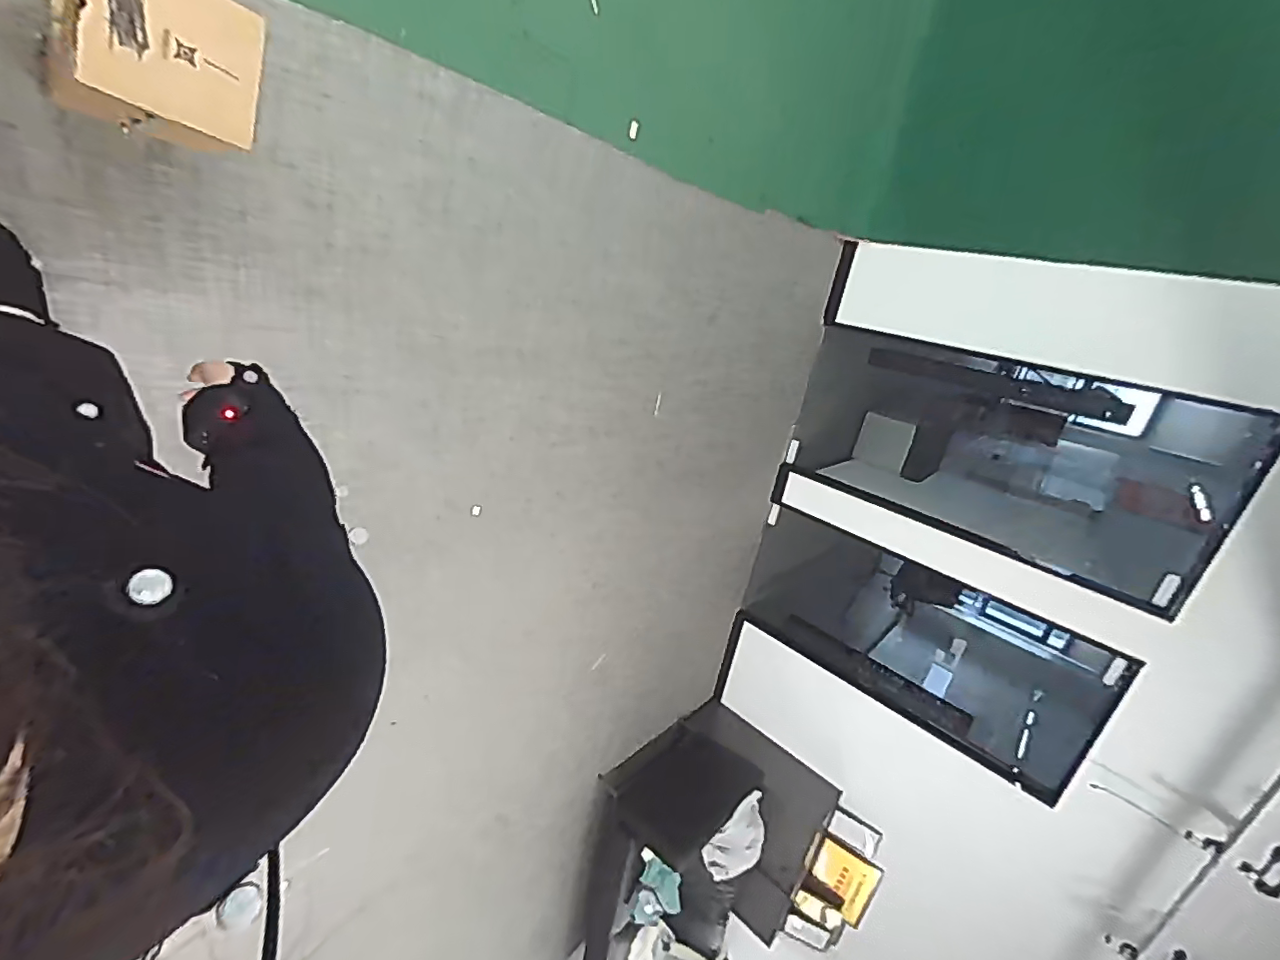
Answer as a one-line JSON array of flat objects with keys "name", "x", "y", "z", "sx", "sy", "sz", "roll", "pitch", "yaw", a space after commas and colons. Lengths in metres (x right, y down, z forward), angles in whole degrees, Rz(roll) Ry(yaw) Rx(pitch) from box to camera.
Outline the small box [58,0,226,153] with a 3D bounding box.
[{"name": "small box", "x": -0.735, "y": -0.617, "z": 0.810, "sx": 0.179, "sy": 0.176, "sz": 0.168, "roll": 4, "pitch": 109, "yaw": -52}]

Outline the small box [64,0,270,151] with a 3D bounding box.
[{"name": "small box", "x": -0.621, "y": -0.555, "z": 0.709, "sx": 0.179, "sy": 0.176, "sz": 0.168, "roll": 0, "pitch": 112, "yaw": -51}]
